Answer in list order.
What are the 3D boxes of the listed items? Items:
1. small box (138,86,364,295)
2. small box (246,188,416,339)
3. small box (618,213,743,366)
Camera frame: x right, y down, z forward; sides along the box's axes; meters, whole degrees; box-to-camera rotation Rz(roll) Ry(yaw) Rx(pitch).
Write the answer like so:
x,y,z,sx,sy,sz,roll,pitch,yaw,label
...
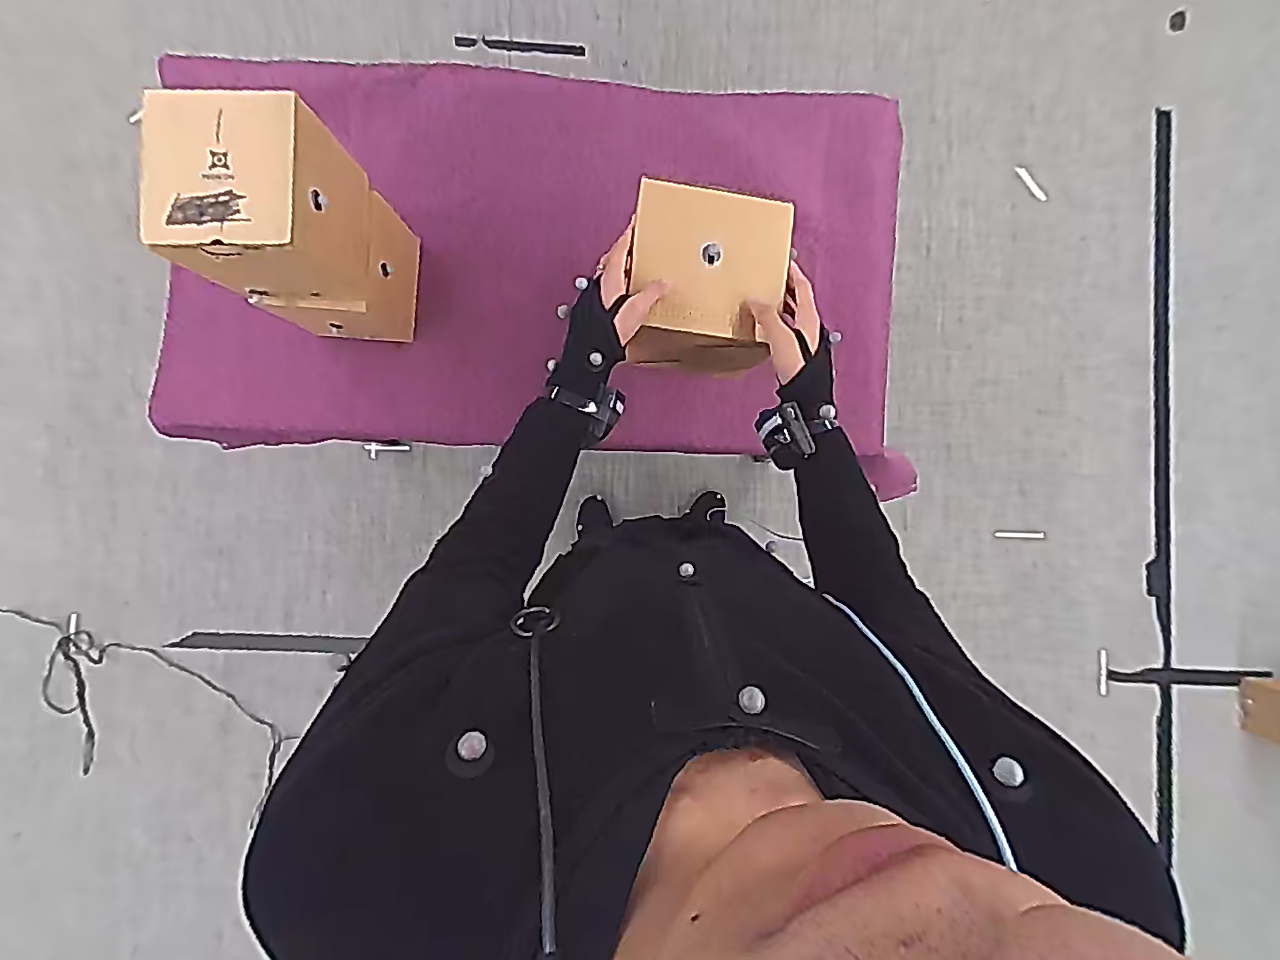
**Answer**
x,y,z,sx,sy,sz,roll,pitch,yaw,label
-0.460,-0.339,0.666,0.168,0.176,0.179,0,89,-2,small box
-0.460,-0.326,0.830,0.168,0.176,0.179,5,89,-2,small box
0.058,-0.284,0.843,0.168,0.176,0.179,5,89,-1,small box
